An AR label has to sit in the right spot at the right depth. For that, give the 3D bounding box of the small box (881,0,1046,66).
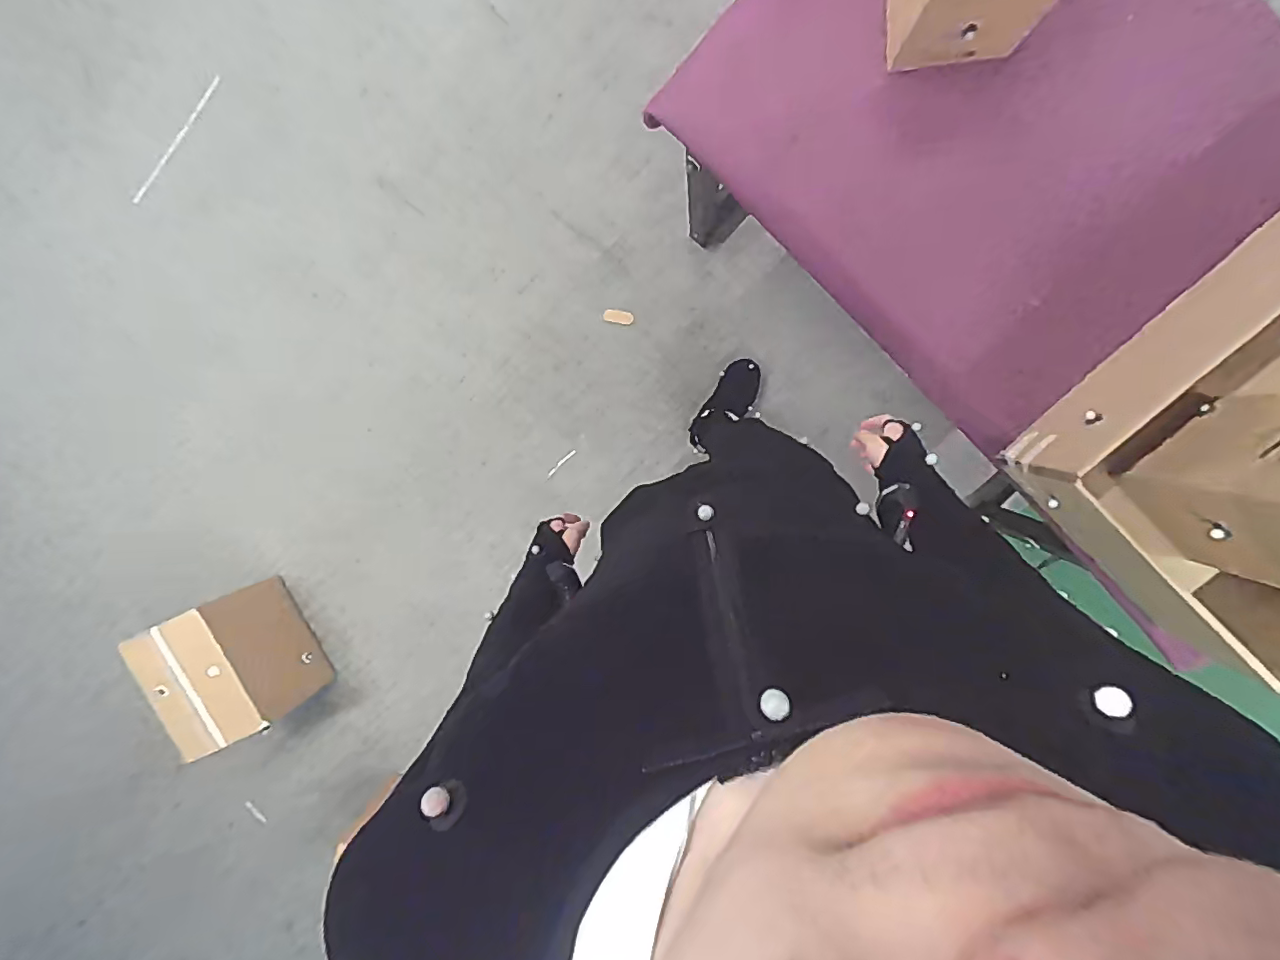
[{"bbox_3d":[0.418,-0.662,0.682,0.168,0.176,0.179,-3,98,6],"label":"small box"}]

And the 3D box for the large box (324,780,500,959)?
[{"bbox_3d":[-0.718,1.246,1.744,0.408,0.320,0.320,14,100,3],"label":"large box"}]
